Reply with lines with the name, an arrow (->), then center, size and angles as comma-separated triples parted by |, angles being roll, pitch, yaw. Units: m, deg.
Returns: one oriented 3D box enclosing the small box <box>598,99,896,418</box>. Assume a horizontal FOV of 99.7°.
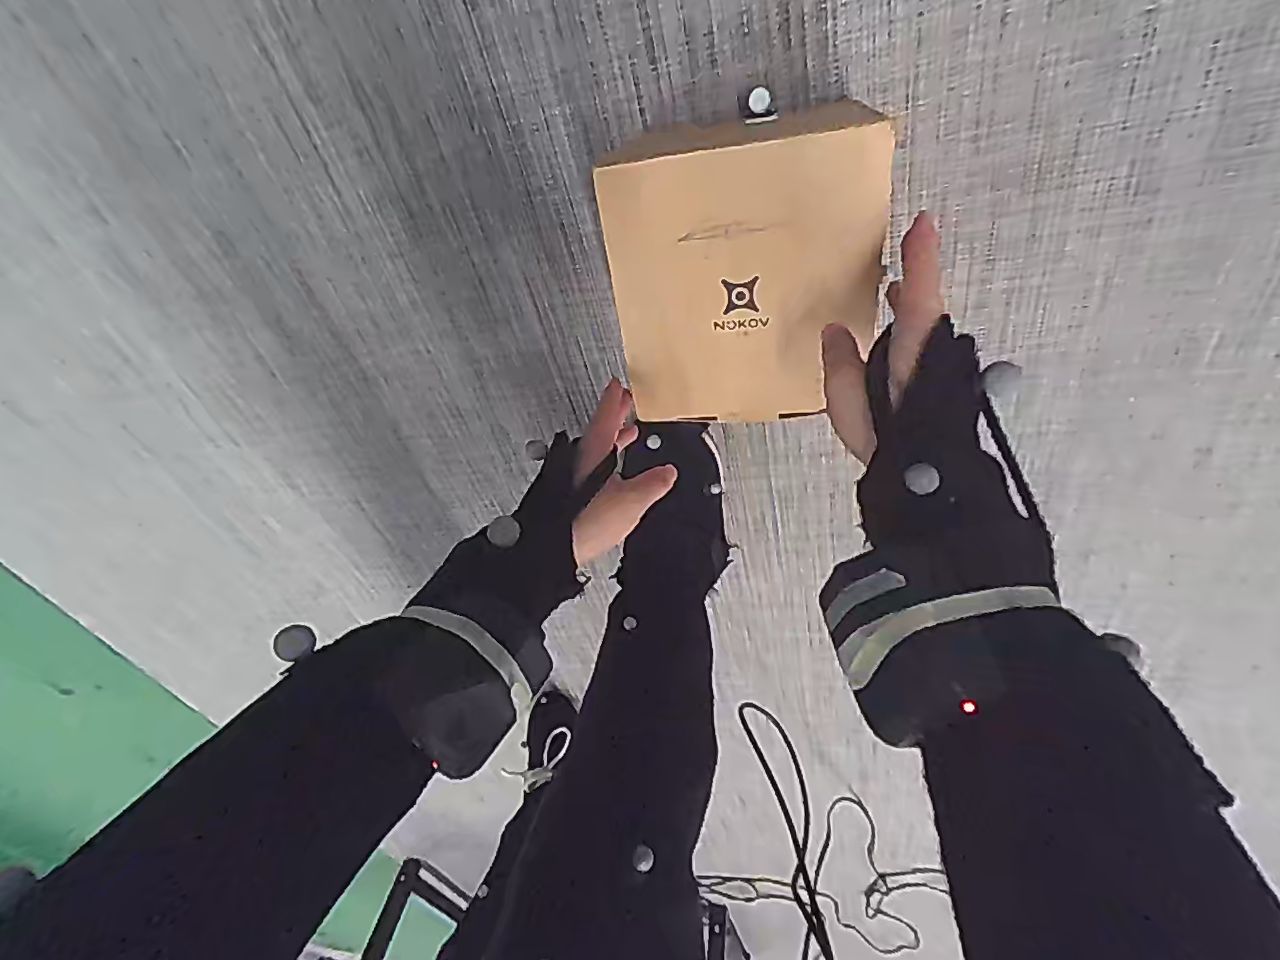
small box -> 0.079, -0.166, 0.408 | 0.168, 0.176, 0.179 | -2, 126, 13
